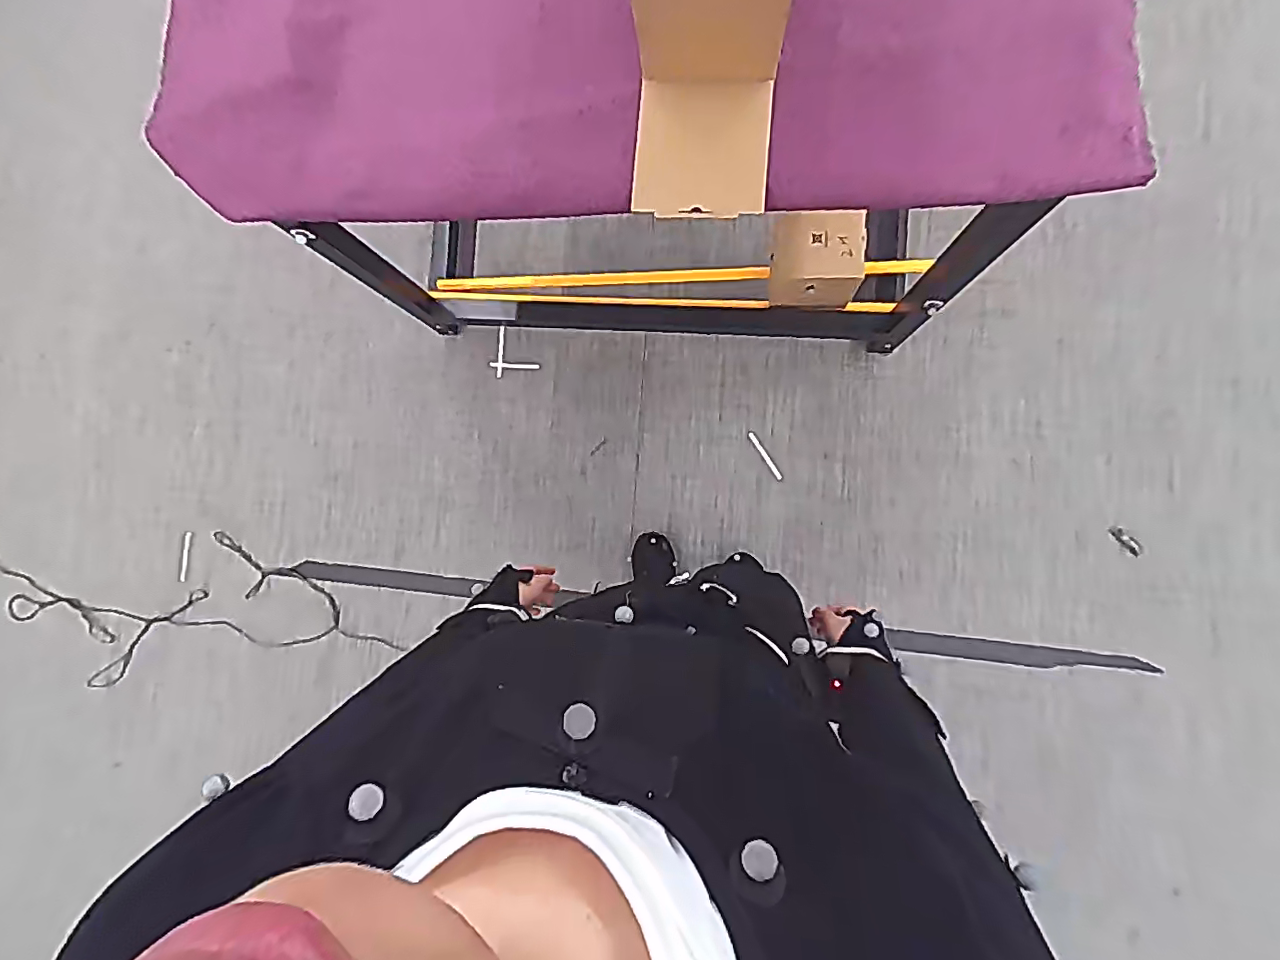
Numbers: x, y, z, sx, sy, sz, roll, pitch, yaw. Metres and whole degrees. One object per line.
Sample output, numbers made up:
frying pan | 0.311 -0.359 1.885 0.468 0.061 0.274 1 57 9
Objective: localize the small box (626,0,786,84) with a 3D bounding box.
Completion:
small box | 0.075 -0.570 0.581 0.168 0.179 0.176 5 94 6

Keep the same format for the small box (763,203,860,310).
small box | 0.365 -0.479 1.179 0.179 0.176 0.168 3 88 7
